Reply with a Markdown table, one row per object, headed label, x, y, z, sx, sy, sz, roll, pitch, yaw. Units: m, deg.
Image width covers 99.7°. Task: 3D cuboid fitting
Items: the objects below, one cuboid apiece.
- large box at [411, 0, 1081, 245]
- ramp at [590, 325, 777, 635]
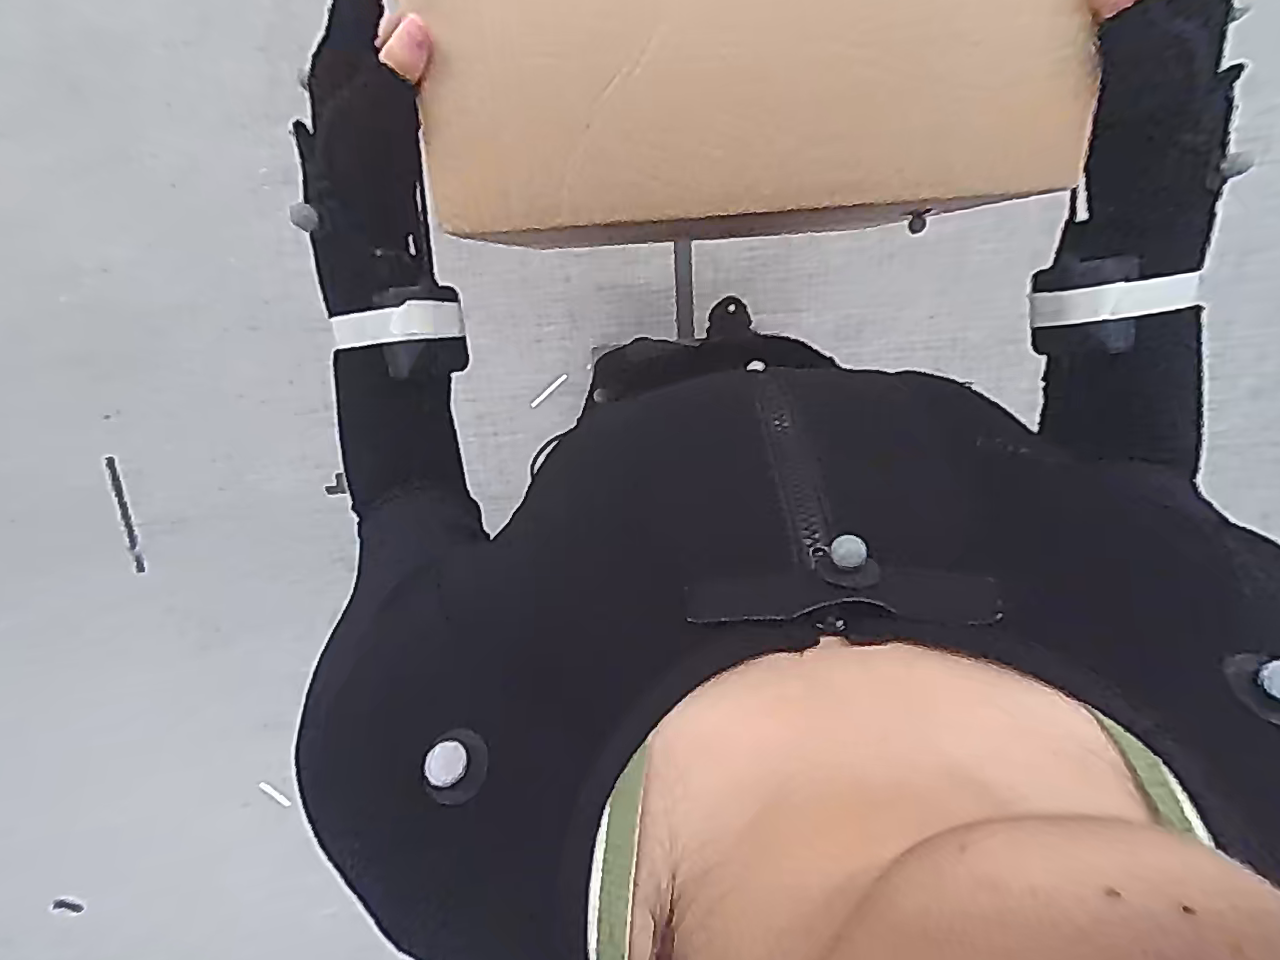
| label | x | y | z | sx | sy | sz | roll | pitch | yaw |
| --- | --- | --- | --- | --- | --- | --- | --- | --- | --- |
| large box | 0.061 | -0.377 | 0.442 | 0.408 | 0.320 | 0.320 | -4 | 111 | 2 |
| ramp | 0.151 | 0.061 | 1.610 | 0.509 | 0.206 | 0.991 | -5 | 105 | 3 |
